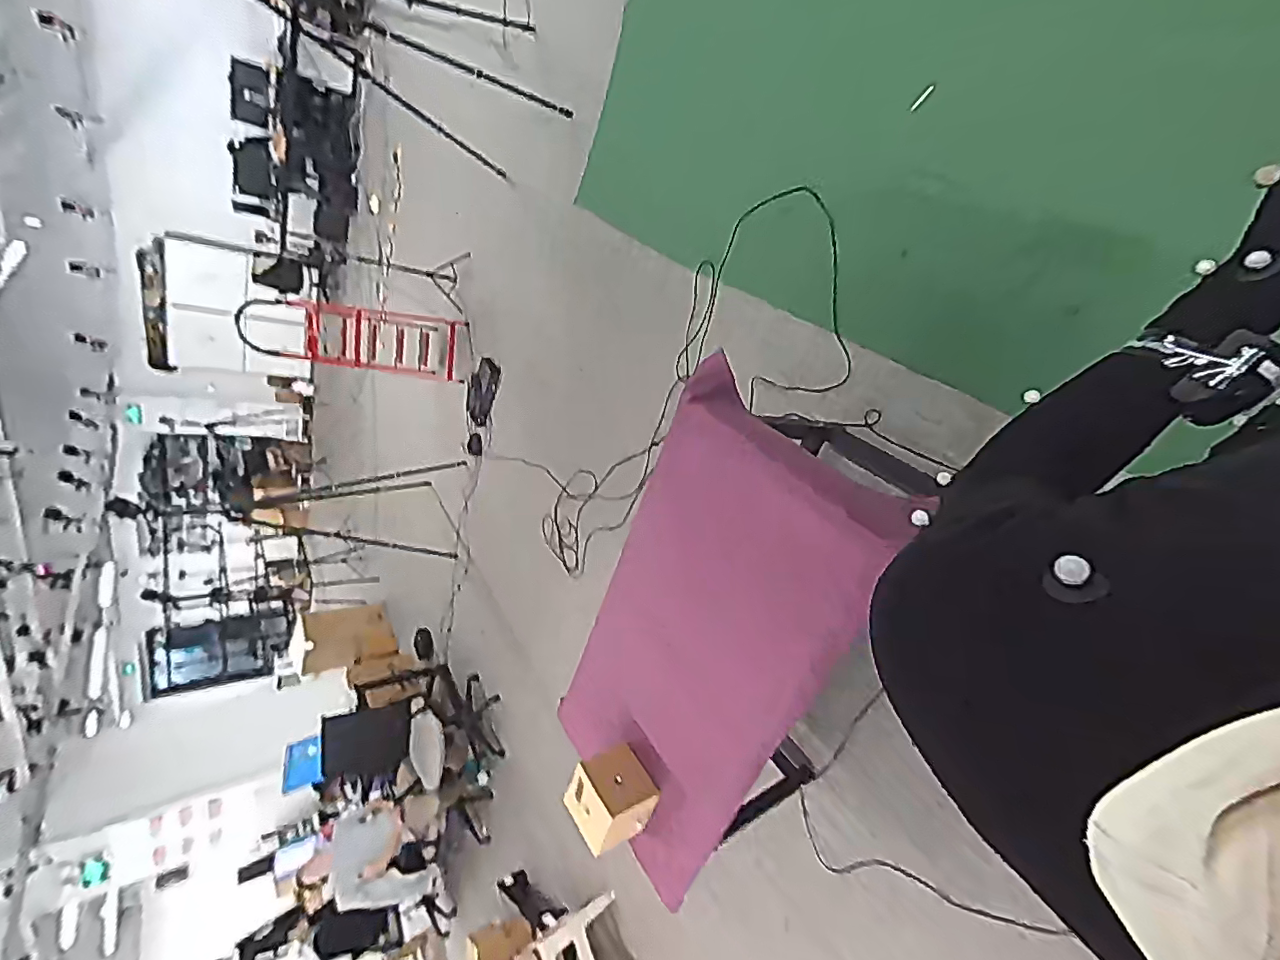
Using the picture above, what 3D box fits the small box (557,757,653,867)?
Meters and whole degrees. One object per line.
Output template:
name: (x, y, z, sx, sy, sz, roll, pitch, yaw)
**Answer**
small box: (-0.095, 0.883, 1.463, 0.179, 0.176, 0.168, 40, 120, 40)
